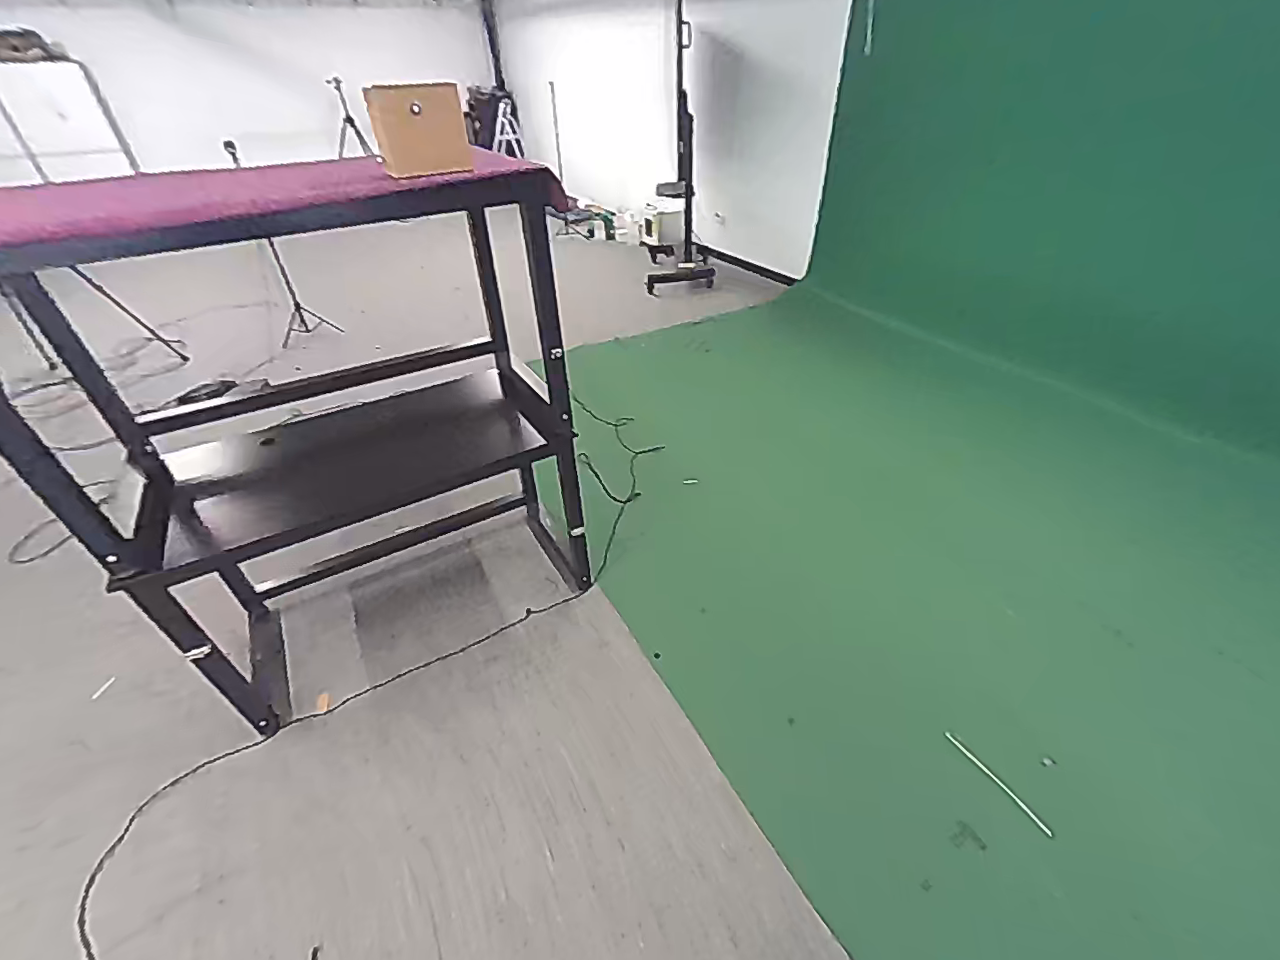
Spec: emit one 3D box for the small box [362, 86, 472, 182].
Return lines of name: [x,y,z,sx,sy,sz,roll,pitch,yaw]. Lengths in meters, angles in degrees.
small box: [-0.505,-0.789,1.234,0.179,0.176,0.168,-21,40,-23]
